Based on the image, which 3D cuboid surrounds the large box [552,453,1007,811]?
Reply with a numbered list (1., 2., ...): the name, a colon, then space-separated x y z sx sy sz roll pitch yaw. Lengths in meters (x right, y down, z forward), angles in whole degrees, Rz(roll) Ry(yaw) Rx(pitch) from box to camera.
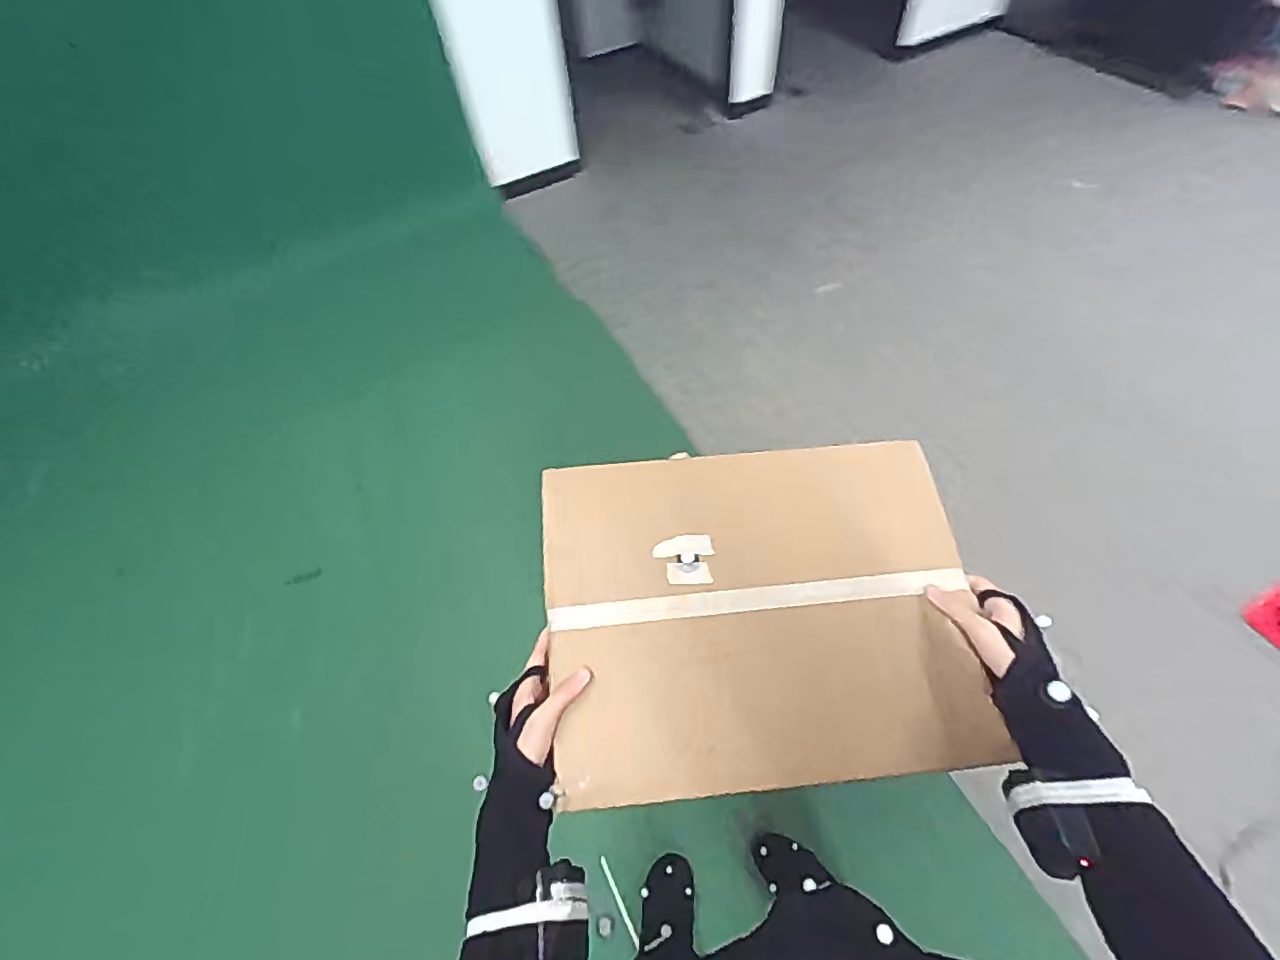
1. large box: 0.120 0.183 0.665 0.408 0.320 0.320 -4 67 -1
